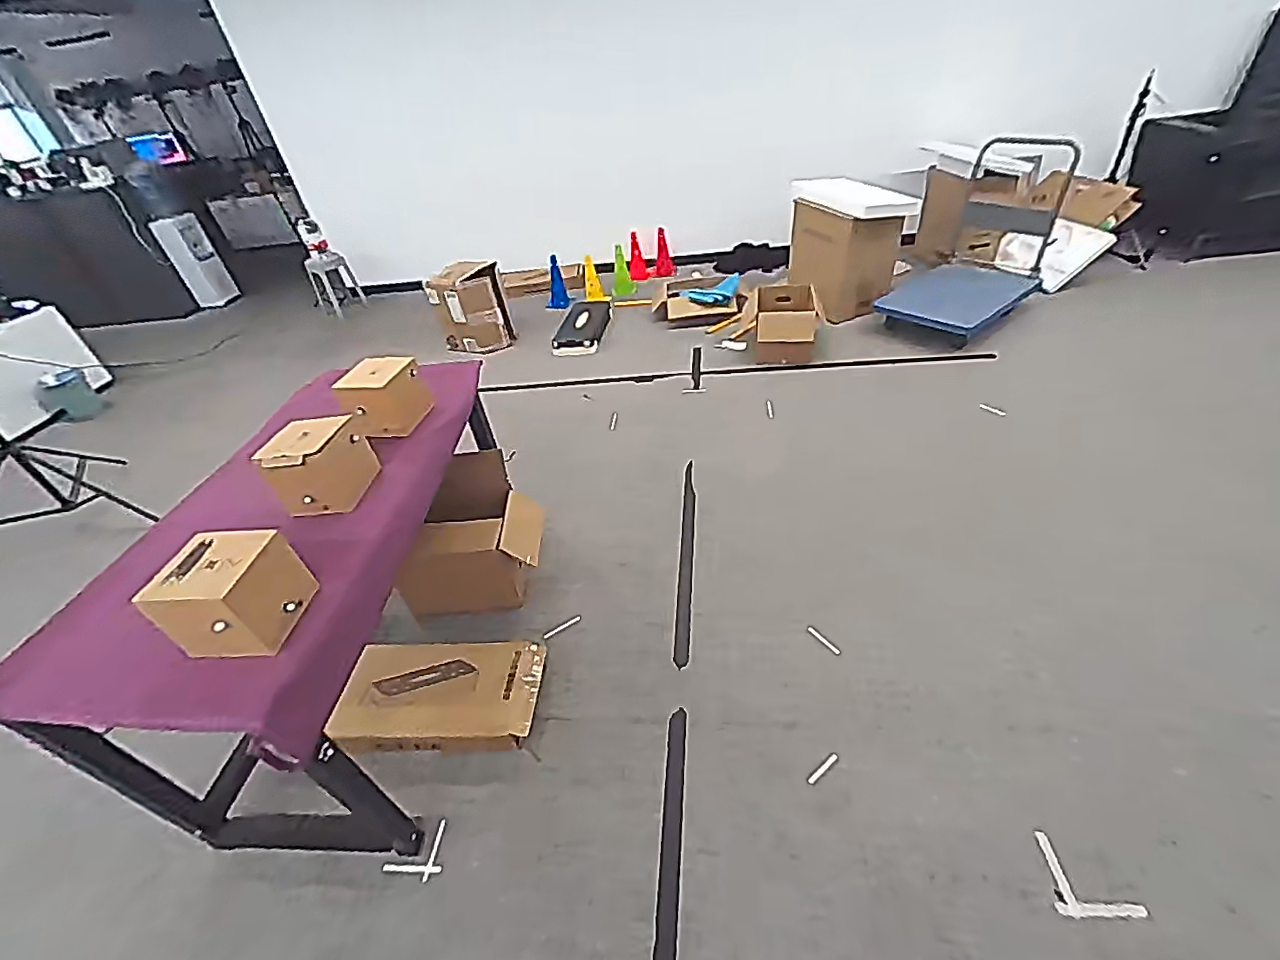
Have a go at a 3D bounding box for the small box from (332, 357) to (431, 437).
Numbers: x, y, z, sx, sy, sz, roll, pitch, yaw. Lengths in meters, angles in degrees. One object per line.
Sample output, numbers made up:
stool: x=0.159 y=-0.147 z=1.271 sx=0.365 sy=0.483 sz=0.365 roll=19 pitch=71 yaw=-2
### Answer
small box: x=-0.734 y=-0.236 z=1.561 sx=0.168 sy=0.176 sz=0.179 roll=1 pitch=39 yaw=12

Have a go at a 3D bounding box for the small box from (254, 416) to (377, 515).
small box: x=-0.774 y=-0.035 z=1.317 sx=0.168 sy=0.176 sz=0.179 roll=-6 pitch=39 yaw=8
